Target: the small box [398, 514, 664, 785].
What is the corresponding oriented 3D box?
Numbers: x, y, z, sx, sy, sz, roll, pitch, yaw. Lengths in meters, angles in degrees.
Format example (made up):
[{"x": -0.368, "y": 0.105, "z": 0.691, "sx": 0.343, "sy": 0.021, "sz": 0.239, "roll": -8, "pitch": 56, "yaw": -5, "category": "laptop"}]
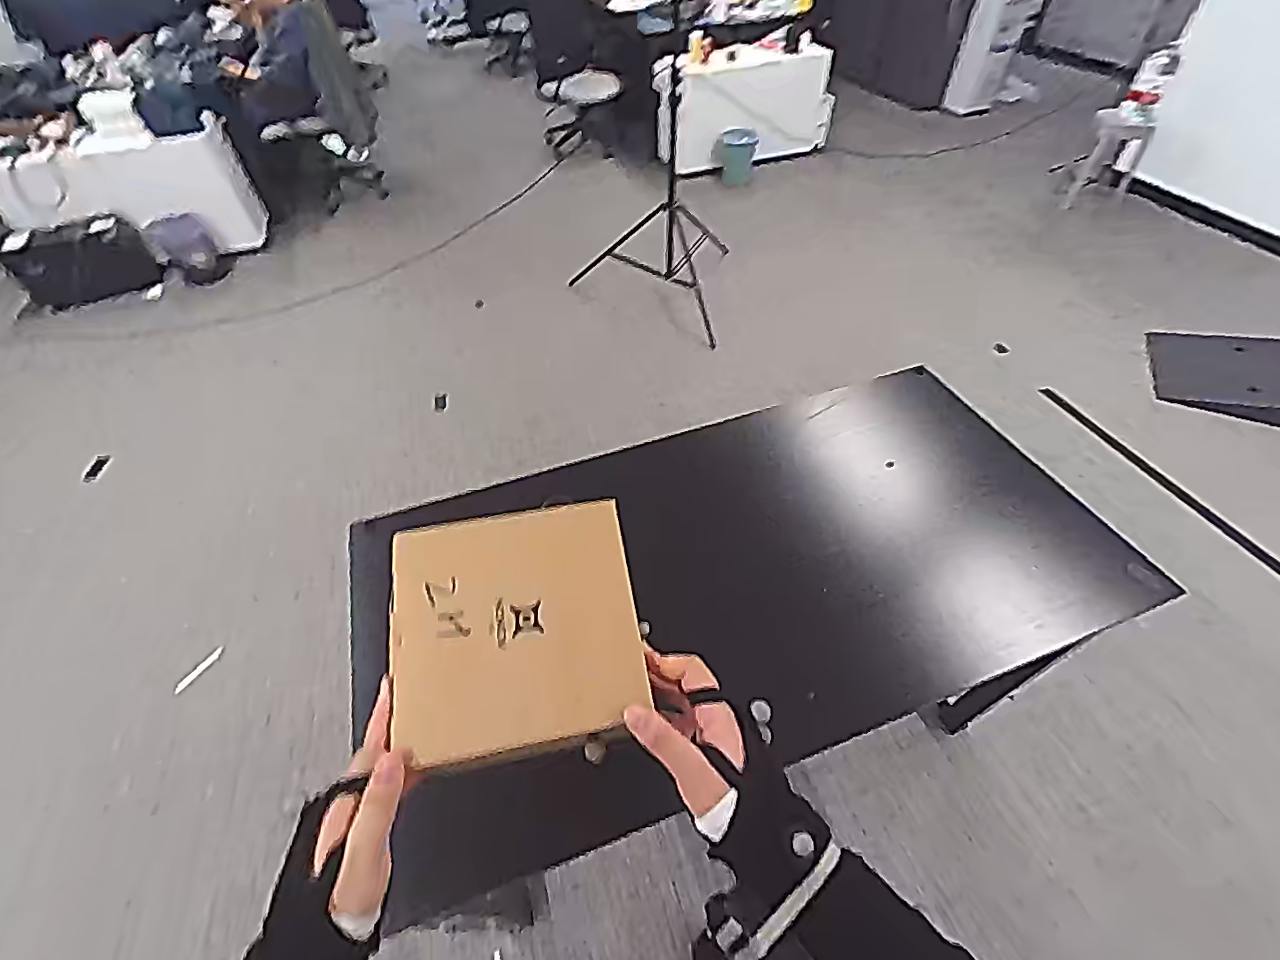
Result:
[{"x": -0.086, "y": 0.146, "z": 0.458, "sx": 0.179, "sy": 0.176, "sz": 0.168, "roll": -9, "pitch": 63, "yaw": -7, "category": "small box"}]
